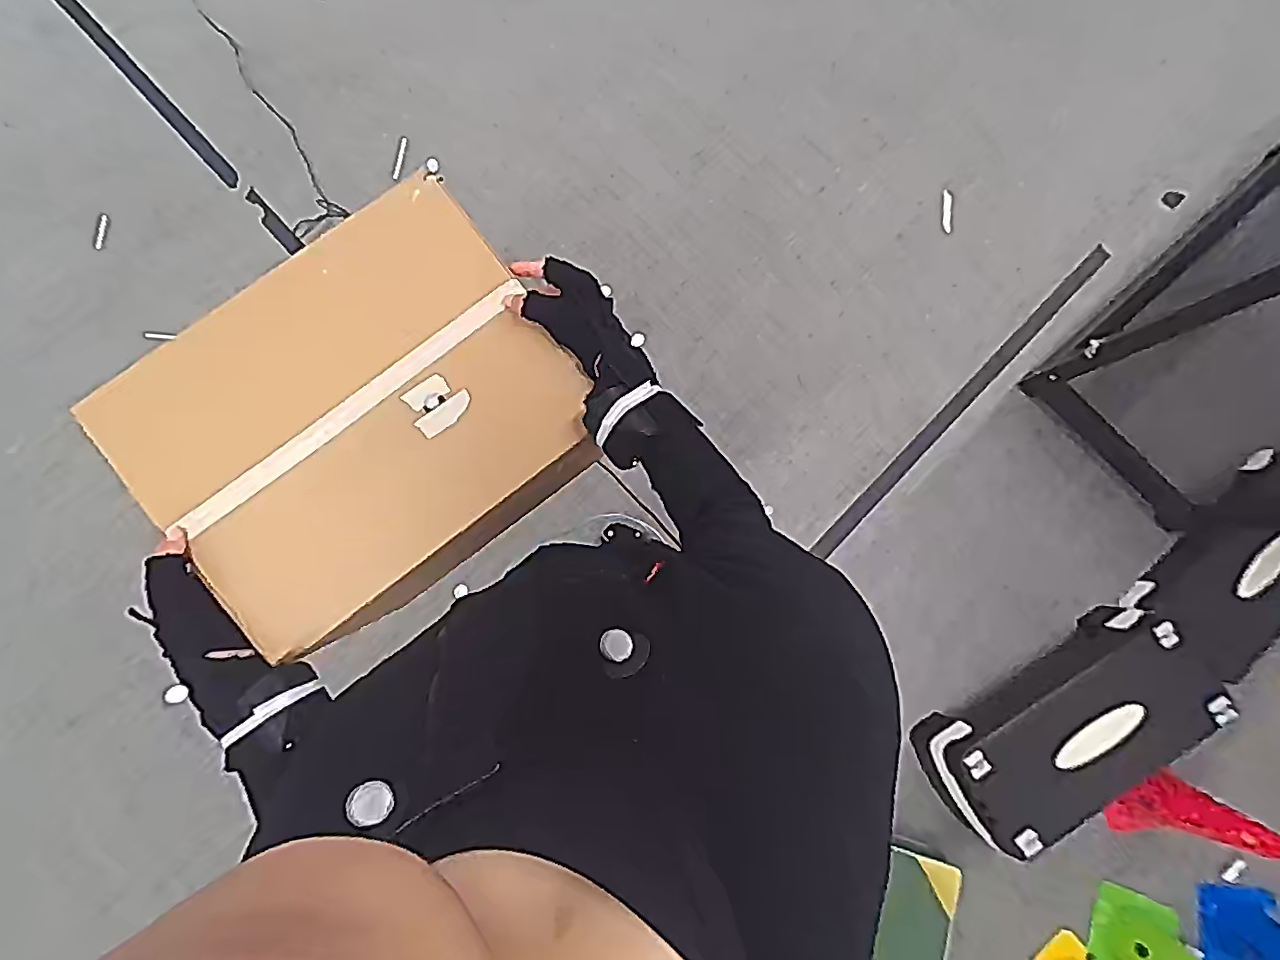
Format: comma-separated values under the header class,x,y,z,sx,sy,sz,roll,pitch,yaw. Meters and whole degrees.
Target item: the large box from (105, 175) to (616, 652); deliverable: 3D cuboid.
class,x,y,z,sx,sy,sz,roll,pitch,yaw
large box,-0.280,-0.063,0.681,0.408,0.320,0.320,-38,91,-6
